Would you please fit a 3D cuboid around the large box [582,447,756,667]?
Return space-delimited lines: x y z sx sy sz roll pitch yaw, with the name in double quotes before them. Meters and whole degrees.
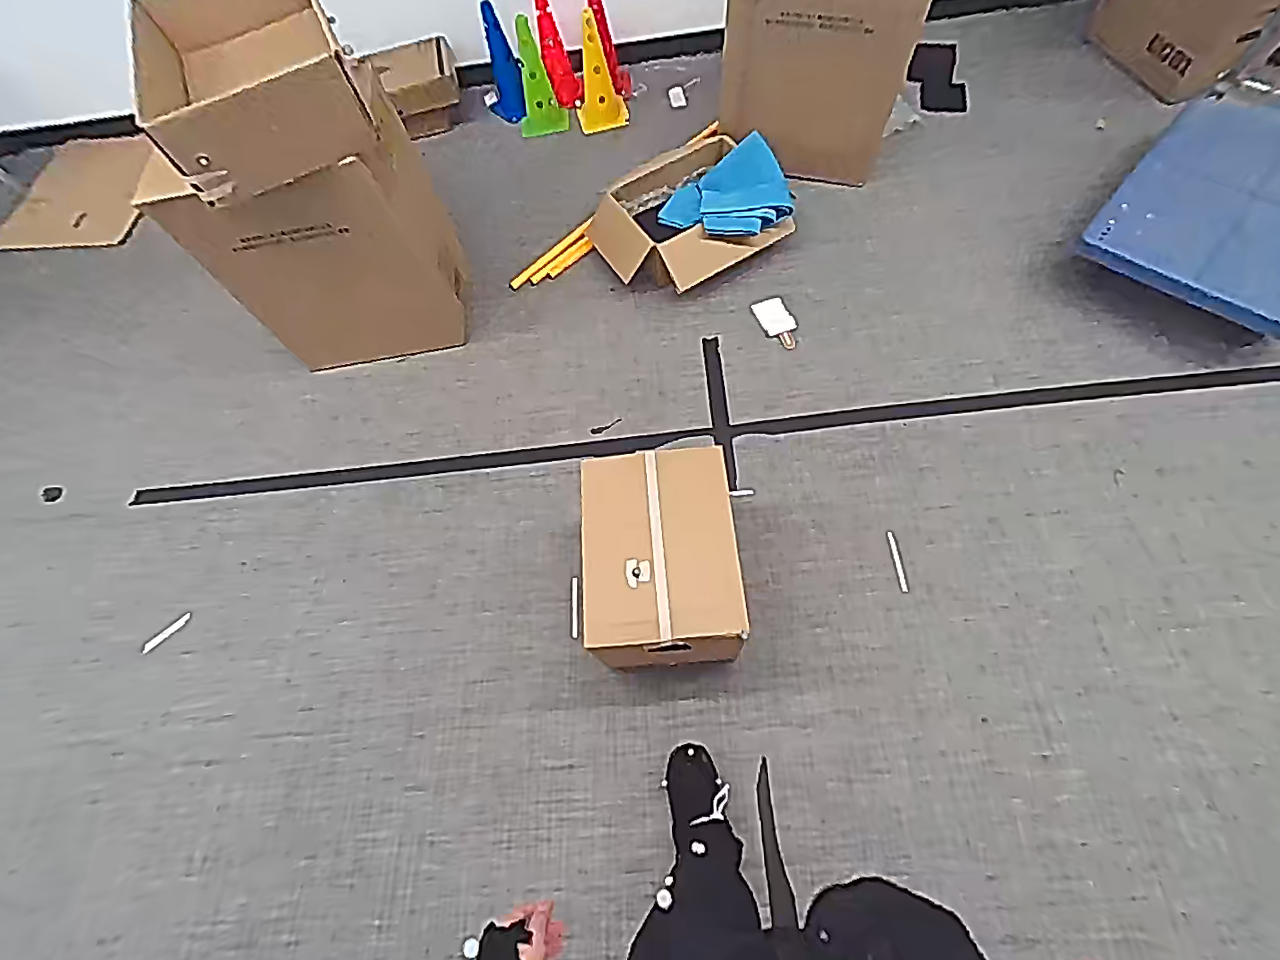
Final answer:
"large box" 0.056 0.184 1.217 0.320 0.320 0.408 -7 64 3
